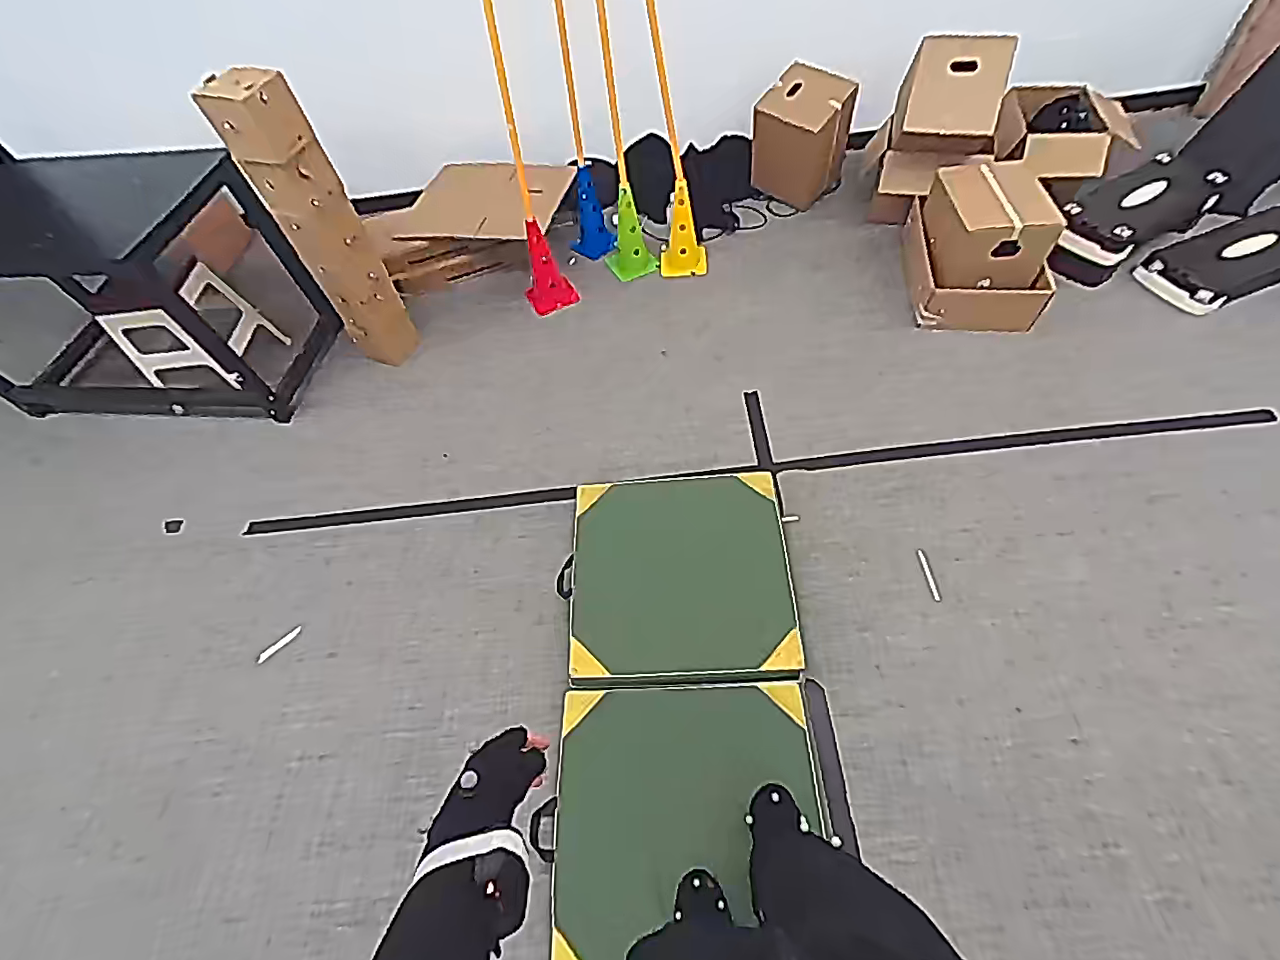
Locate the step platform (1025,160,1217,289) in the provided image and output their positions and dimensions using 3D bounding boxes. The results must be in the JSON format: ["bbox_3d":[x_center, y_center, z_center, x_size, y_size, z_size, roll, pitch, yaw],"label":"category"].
[{"bbox_3d":[1.910,-1.025,2.152,0.684,0.204,0.286,-30,59,-13],"label":"step platform"}]
